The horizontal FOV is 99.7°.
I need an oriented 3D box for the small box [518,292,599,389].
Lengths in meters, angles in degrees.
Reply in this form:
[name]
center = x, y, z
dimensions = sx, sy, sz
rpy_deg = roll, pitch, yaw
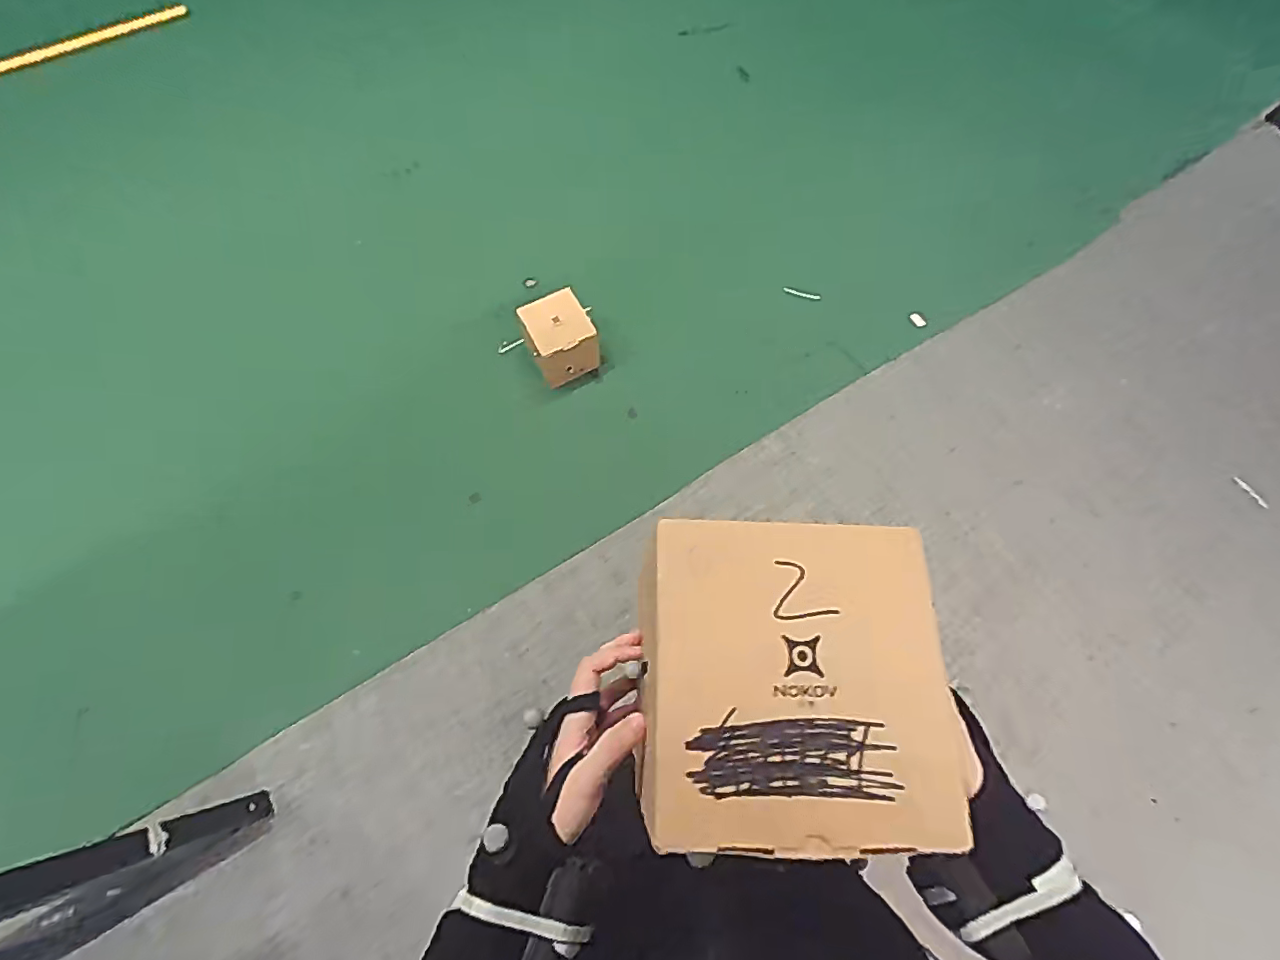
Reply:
[small box]
center = -0.230, -0.396, 1.551
dimensions = 0.168, 0.176, 0.179
rpy_deg = -27, 73, -12
